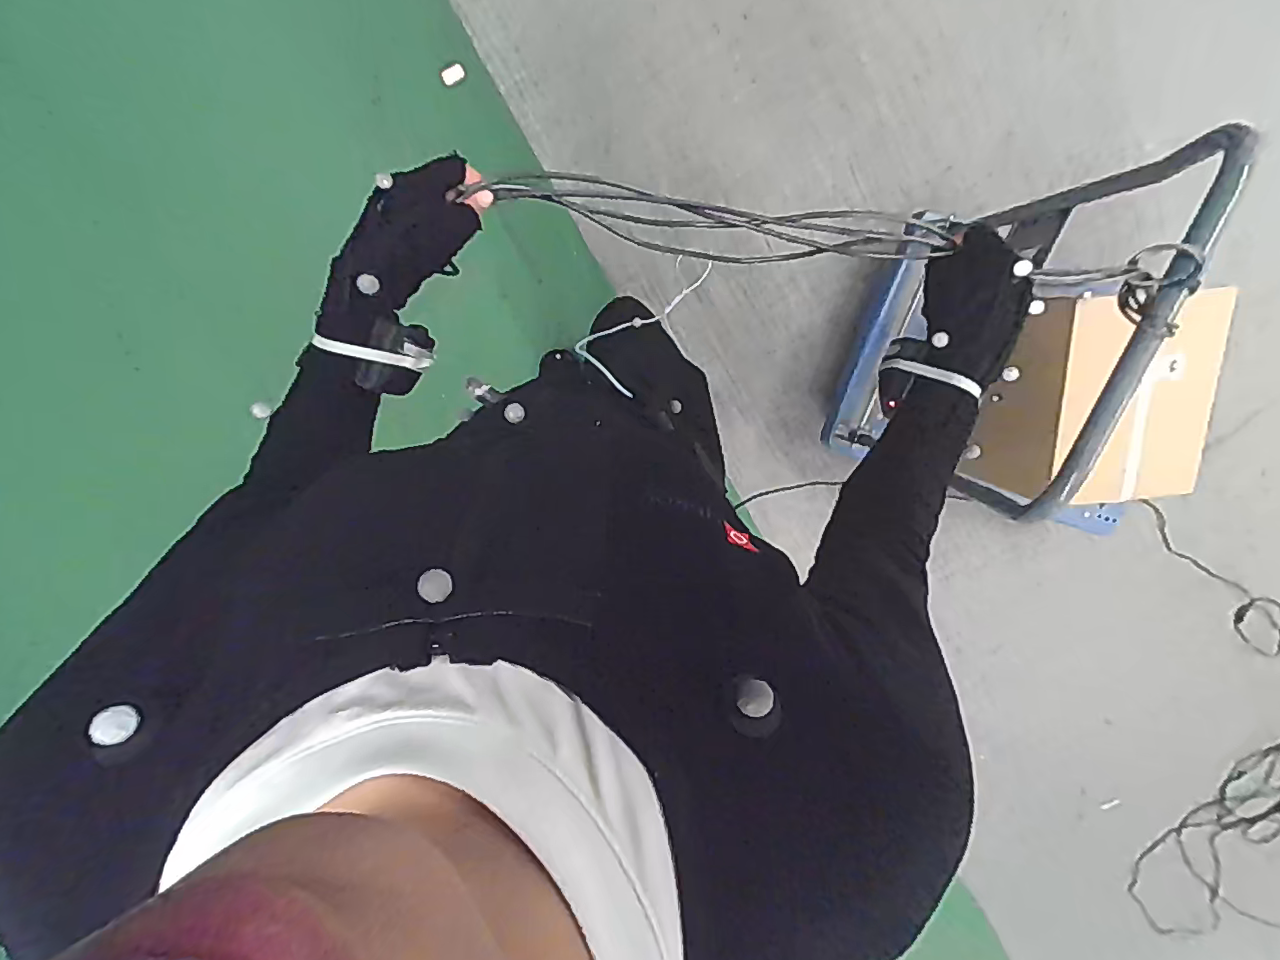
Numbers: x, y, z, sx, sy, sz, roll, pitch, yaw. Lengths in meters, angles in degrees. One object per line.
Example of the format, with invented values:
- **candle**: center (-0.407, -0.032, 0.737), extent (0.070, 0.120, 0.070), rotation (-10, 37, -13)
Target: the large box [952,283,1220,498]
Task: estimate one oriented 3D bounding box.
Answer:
- **large box**: center (0.941, -0.203, 1.199), extent (0.320, 0.320, 0.408), rotation (-5, 105, -4)
